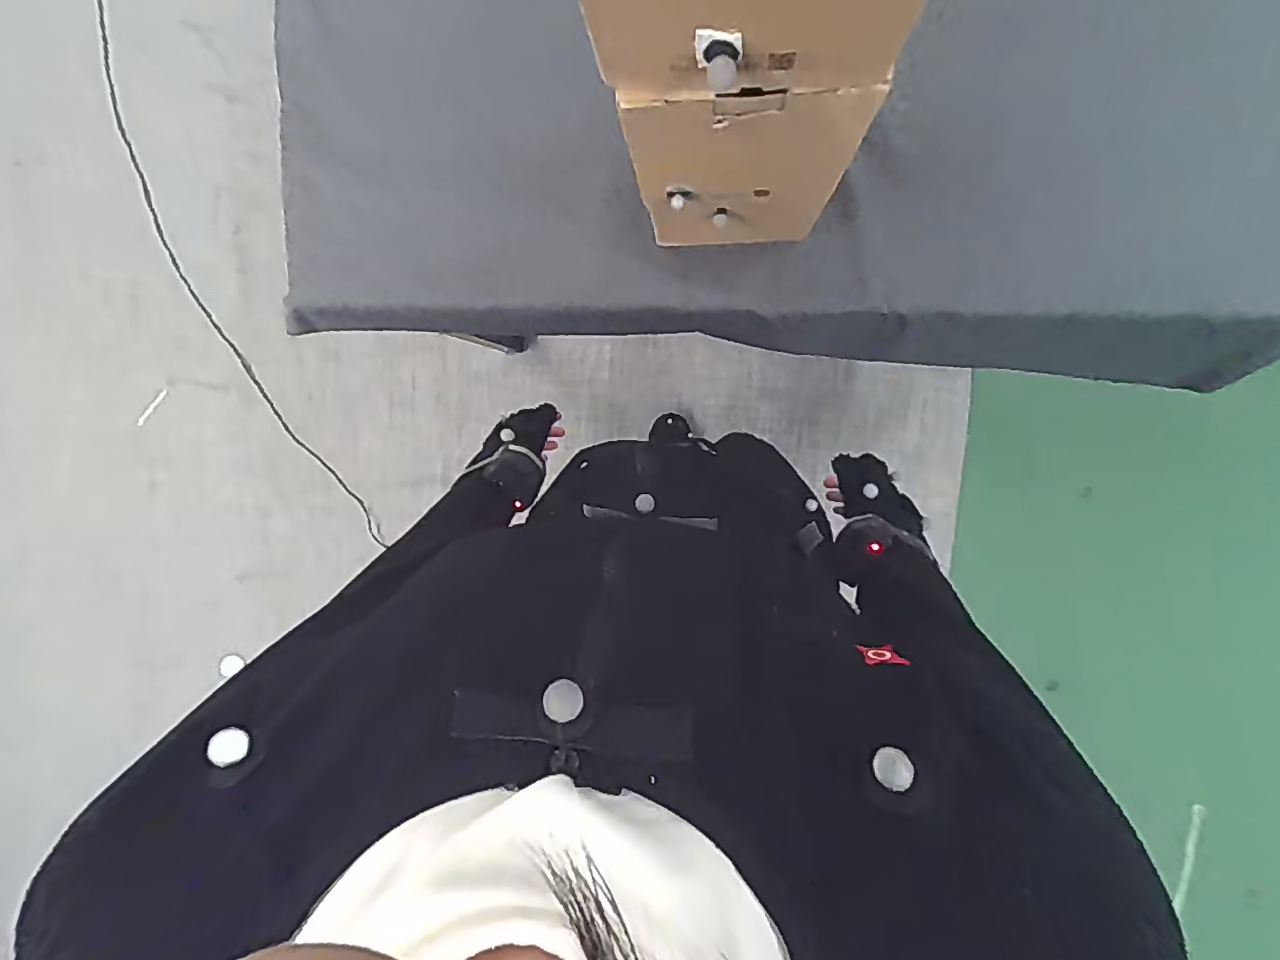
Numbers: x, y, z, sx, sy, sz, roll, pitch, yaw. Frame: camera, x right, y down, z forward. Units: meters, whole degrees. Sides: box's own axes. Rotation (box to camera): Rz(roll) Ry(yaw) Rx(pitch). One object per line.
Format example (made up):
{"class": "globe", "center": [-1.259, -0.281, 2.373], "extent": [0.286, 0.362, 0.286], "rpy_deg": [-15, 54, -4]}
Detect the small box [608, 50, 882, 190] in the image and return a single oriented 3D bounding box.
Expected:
{"class": "small box", "center": [0.072, -0.332, 0.395], "extent": [0.168, 0.176, 0.179], "rpy_deg": [1, 96, 7]}

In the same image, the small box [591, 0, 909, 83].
{"class": "small box", "center": [0.051, -0.316, 0.235], "extent": [0.168, 0.176, 0.179], "rpy_deg": [3, 98, 8]}

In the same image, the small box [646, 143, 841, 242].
{"class": "small box", "center": [0.096, -0.362, 0.557], "extent": [0.179, 0.176, 0.168], "rpy_deg": [-3, 95, 7]}
